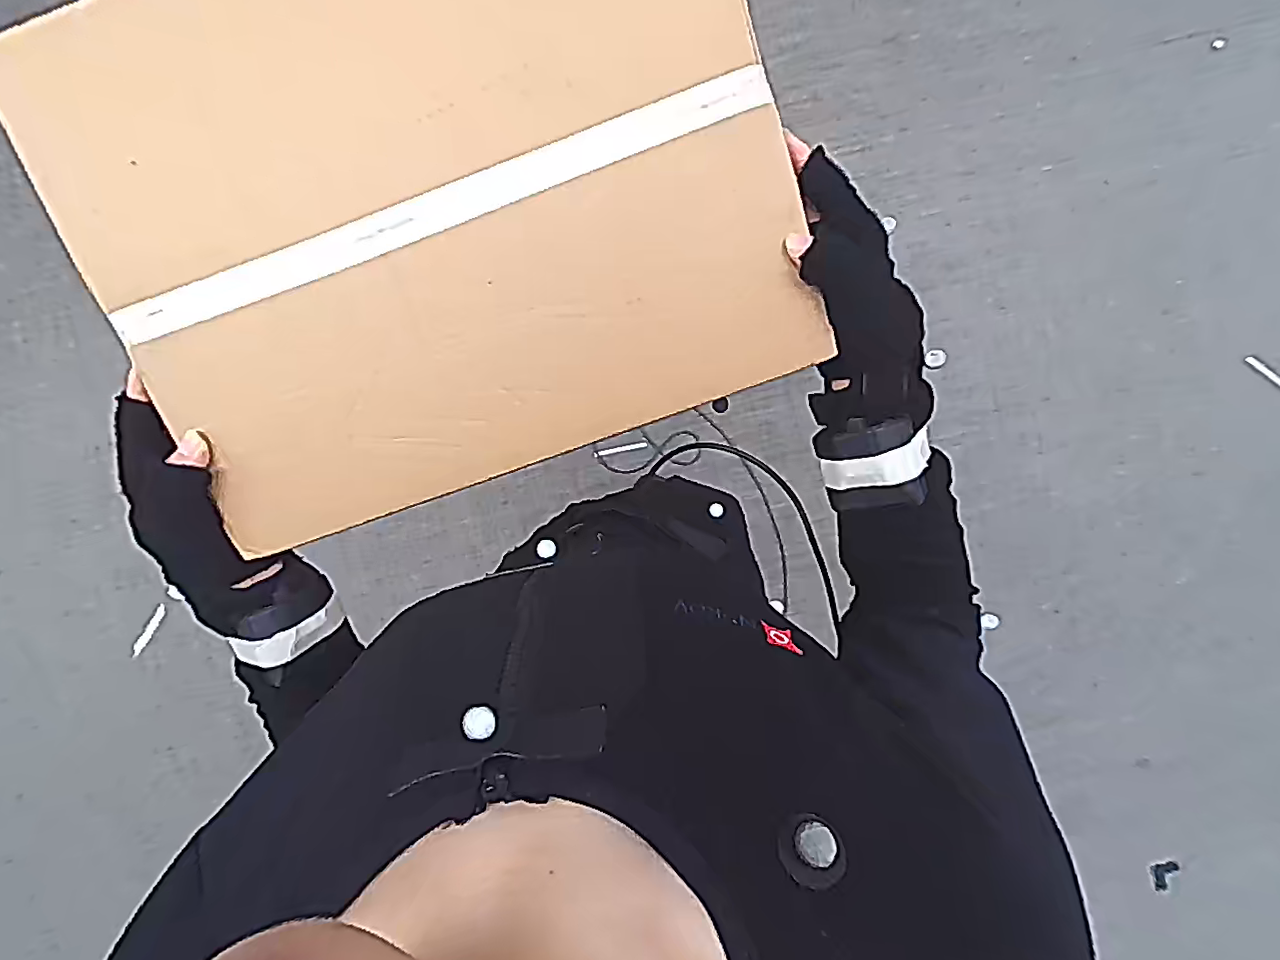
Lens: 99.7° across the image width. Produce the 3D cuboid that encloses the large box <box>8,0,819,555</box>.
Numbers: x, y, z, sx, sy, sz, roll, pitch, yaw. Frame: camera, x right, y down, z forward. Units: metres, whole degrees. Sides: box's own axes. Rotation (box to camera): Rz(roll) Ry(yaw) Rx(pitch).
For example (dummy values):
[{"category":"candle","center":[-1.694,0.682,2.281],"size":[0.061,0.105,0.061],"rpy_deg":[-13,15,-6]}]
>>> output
[{"category":"large box","center":[-0.122,-0.189,0.468],"size":[0.408,0.320,0.320],"rpy_deg":[-19,102,4]}]
